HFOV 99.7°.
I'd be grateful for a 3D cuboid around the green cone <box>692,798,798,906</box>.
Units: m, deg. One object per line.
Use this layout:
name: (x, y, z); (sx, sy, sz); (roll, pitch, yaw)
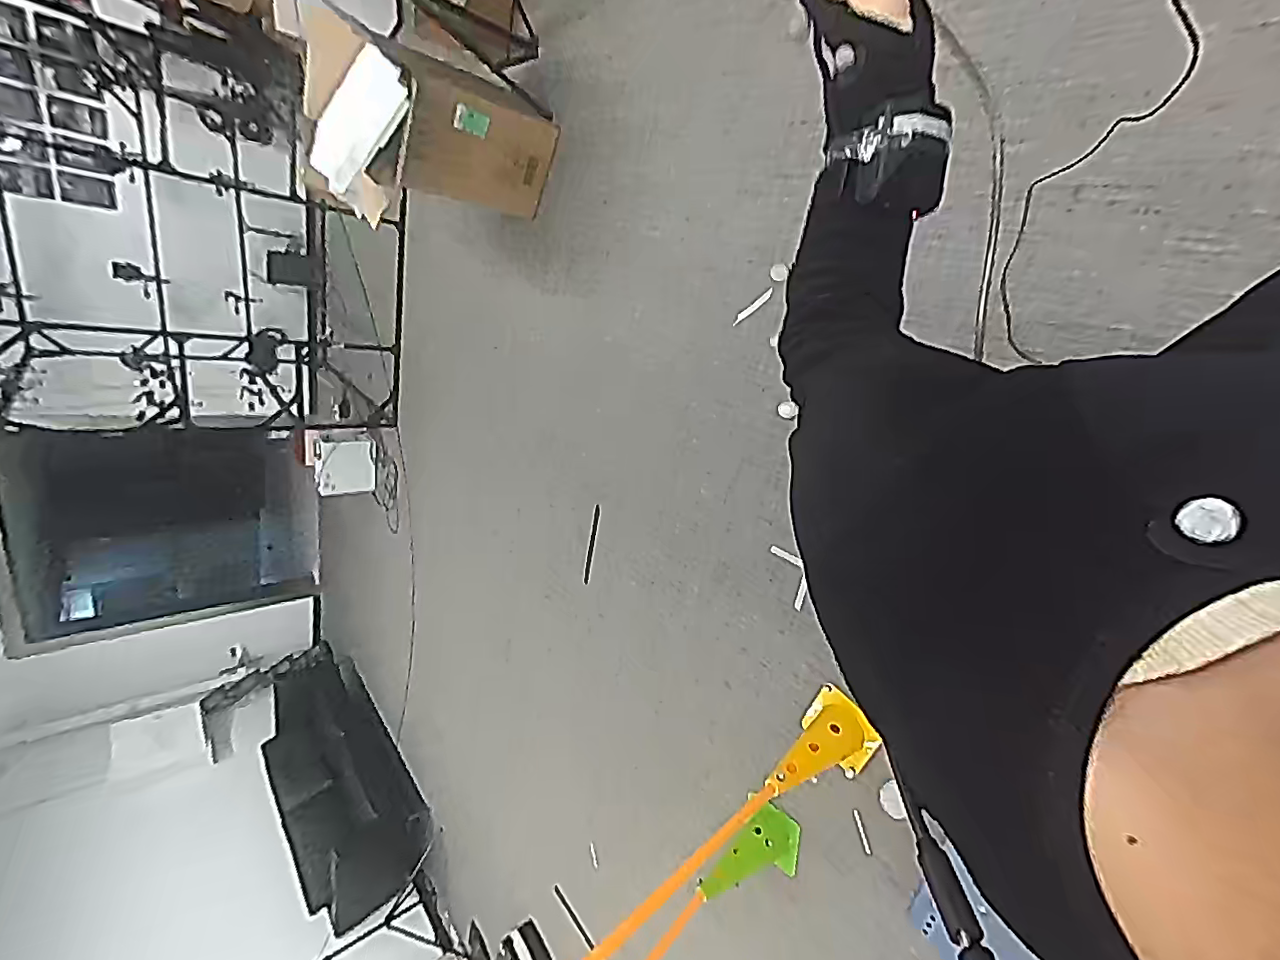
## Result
green cone: (0.297, 1.191, 1.659); (0.200, 0.368, 0.202); (12, 103, 46)
